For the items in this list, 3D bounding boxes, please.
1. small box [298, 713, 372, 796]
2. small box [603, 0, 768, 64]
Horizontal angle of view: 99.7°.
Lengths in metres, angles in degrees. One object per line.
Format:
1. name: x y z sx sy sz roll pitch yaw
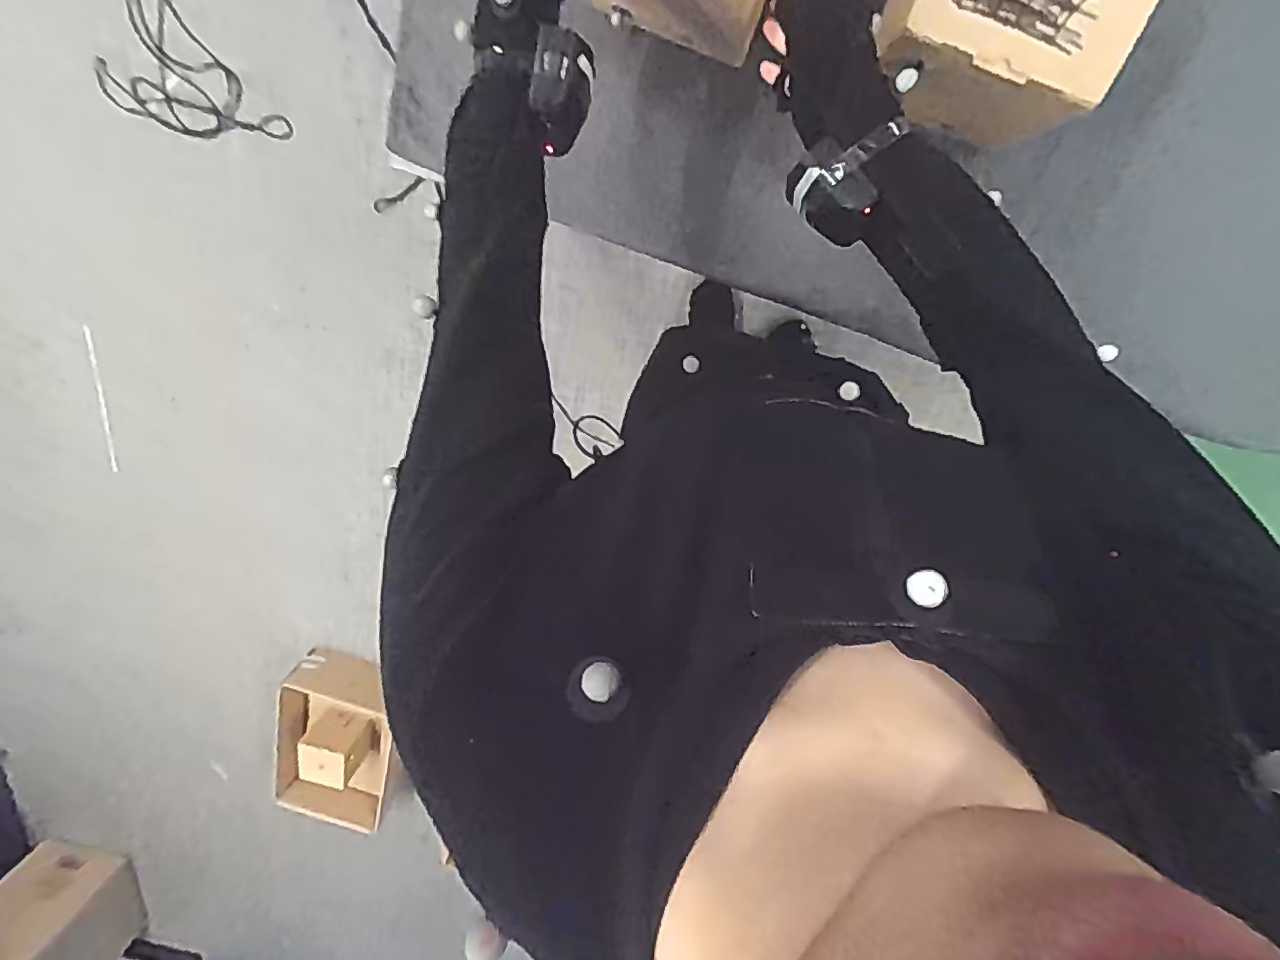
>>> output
1. small box: -1.067 0.960 1.899 0.168 0.176 0.179 14 112 2
2. small box: 0.051 -0.504 0.462 0.168 0.176 0.179 21 111 -2
